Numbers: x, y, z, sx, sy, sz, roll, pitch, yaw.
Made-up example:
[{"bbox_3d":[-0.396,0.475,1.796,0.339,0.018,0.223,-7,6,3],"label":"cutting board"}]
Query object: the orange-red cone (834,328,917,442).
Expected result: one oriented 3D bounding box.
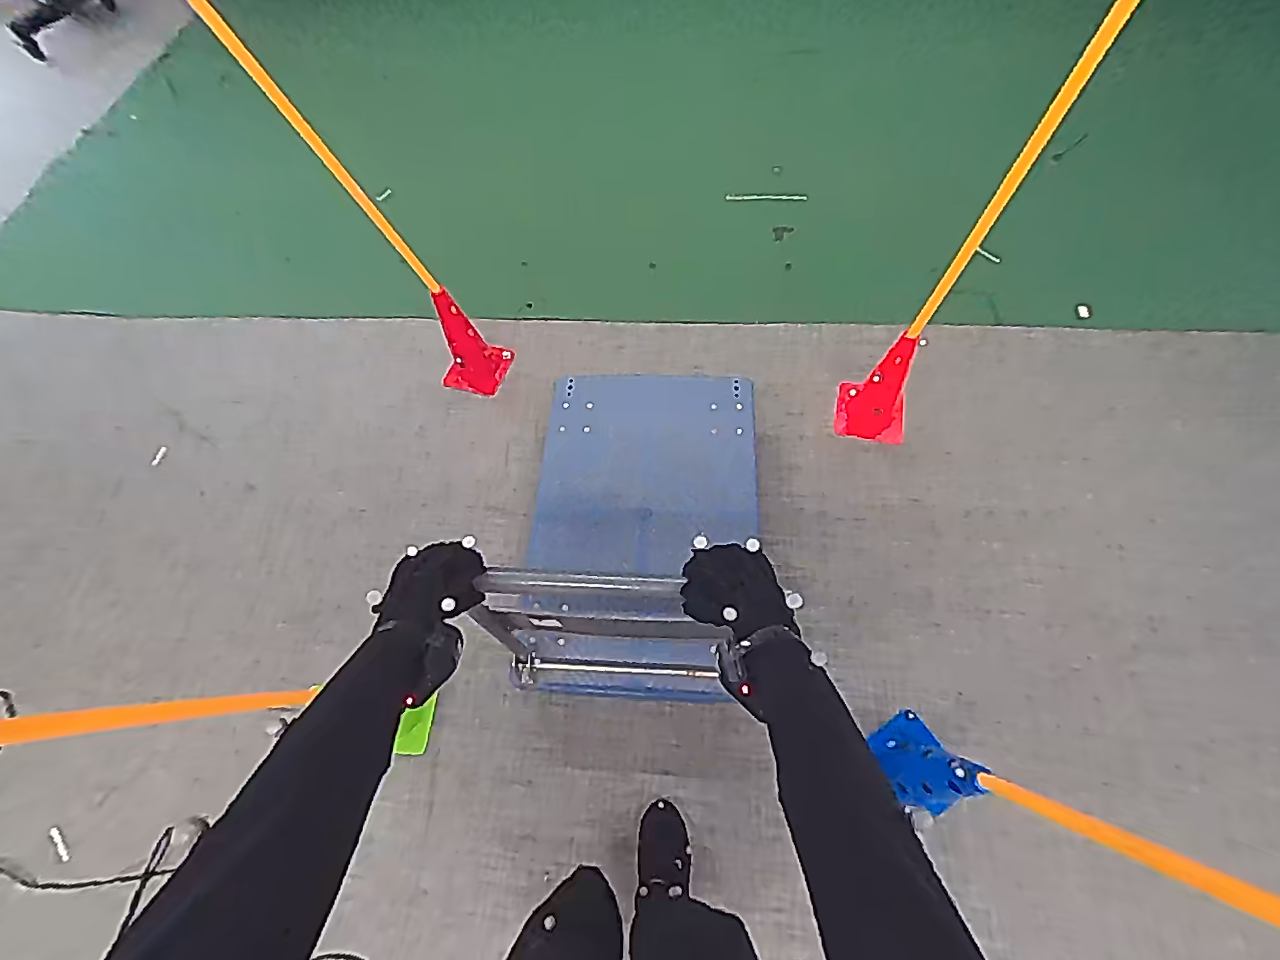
[{"bbox_3d":[0.692,-0.288,1.507,0.198,0.360,0.199,12,66,12],"label":"orange-red cone"}]
